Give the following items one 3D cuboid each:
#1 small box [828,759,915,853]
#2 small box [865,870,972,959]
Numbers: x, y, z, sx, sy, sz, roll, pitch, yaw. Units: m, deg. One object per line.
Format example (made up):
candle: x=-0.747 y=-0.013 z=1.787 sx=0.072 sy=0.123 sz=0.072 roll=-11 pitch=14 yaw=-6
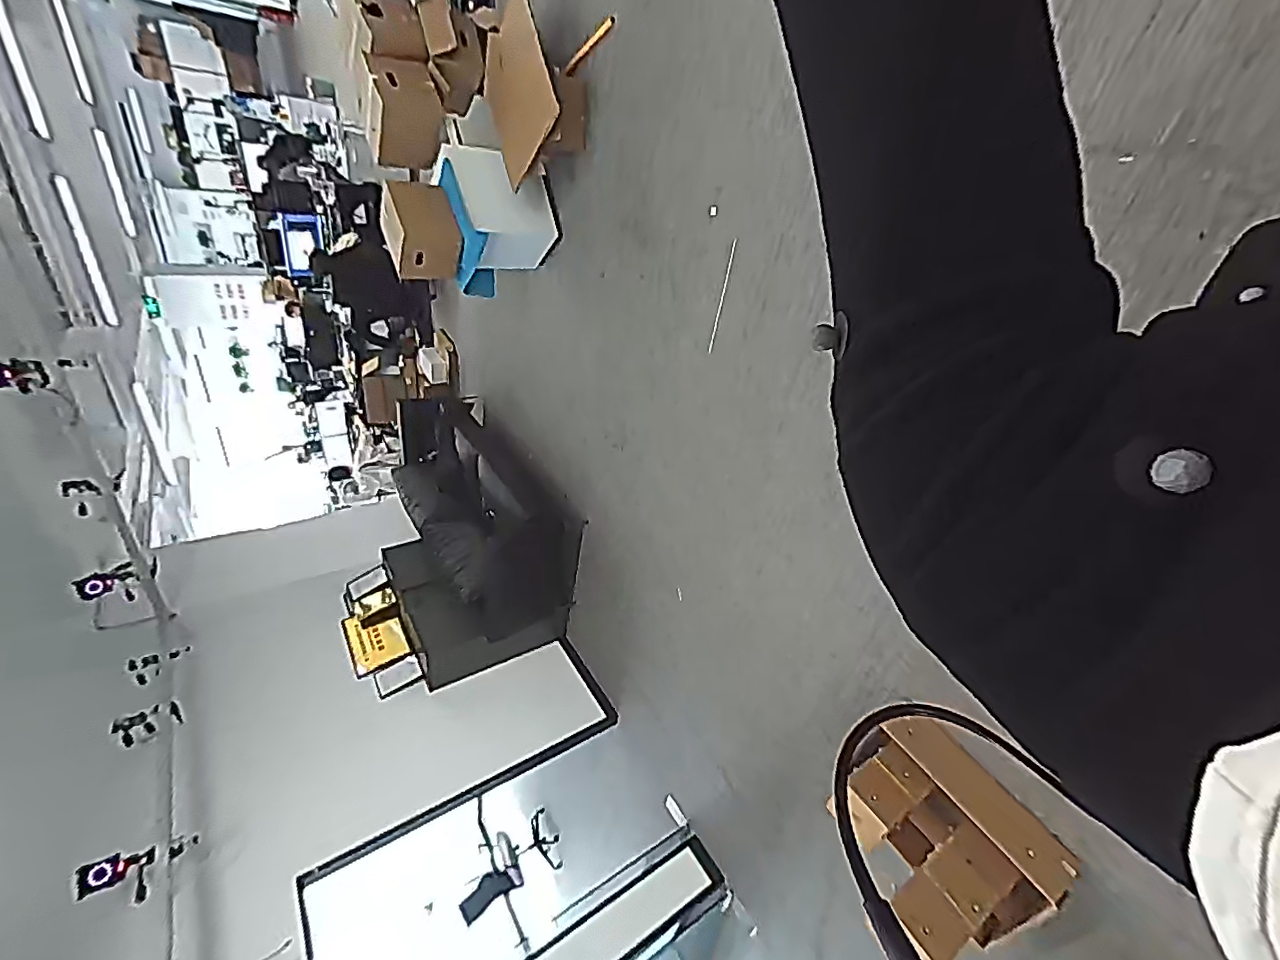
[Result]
small box: x=0.765 y=1.066 z=1.781 sx=0.179 sy=0.176 sz=0.168 roll=44 pitch=134 yaw=40
small box: x=0.782 y=1.251 z=1.515 sx=0.179 sy=0.176 sz=0.168 roll=47 pitch=138 yaw=38
